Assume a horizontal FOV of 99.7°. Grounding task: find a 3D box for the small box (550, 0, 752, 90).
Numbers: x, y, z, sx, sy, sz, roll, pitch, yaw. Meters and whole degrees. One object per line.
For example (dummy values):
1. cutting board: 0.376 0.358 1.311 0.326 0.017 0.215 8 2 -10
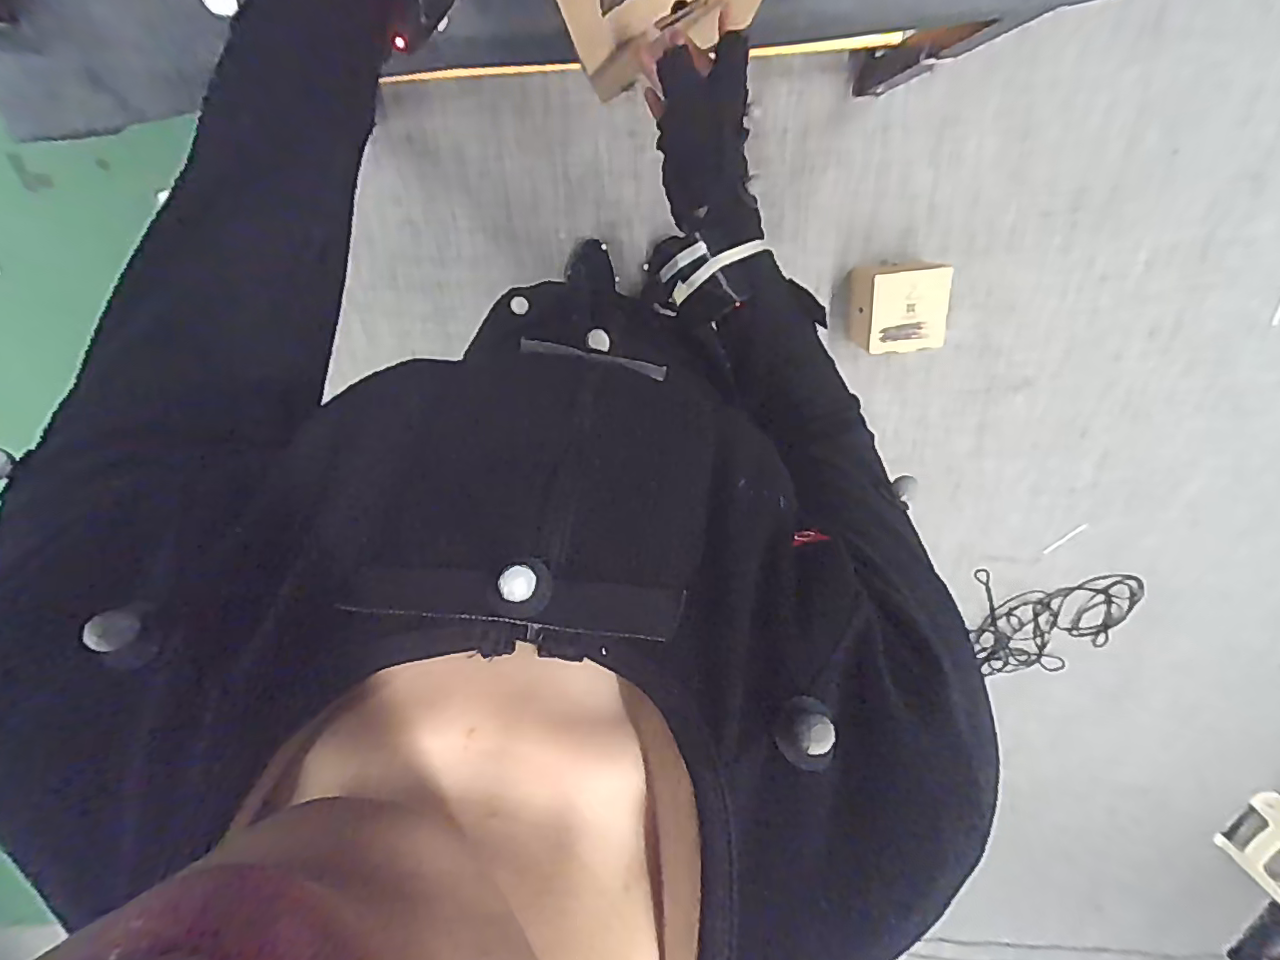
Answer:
1. small box: -0.004 -0.451 0.438 0.168 0.176 0.179 -21 114 11
